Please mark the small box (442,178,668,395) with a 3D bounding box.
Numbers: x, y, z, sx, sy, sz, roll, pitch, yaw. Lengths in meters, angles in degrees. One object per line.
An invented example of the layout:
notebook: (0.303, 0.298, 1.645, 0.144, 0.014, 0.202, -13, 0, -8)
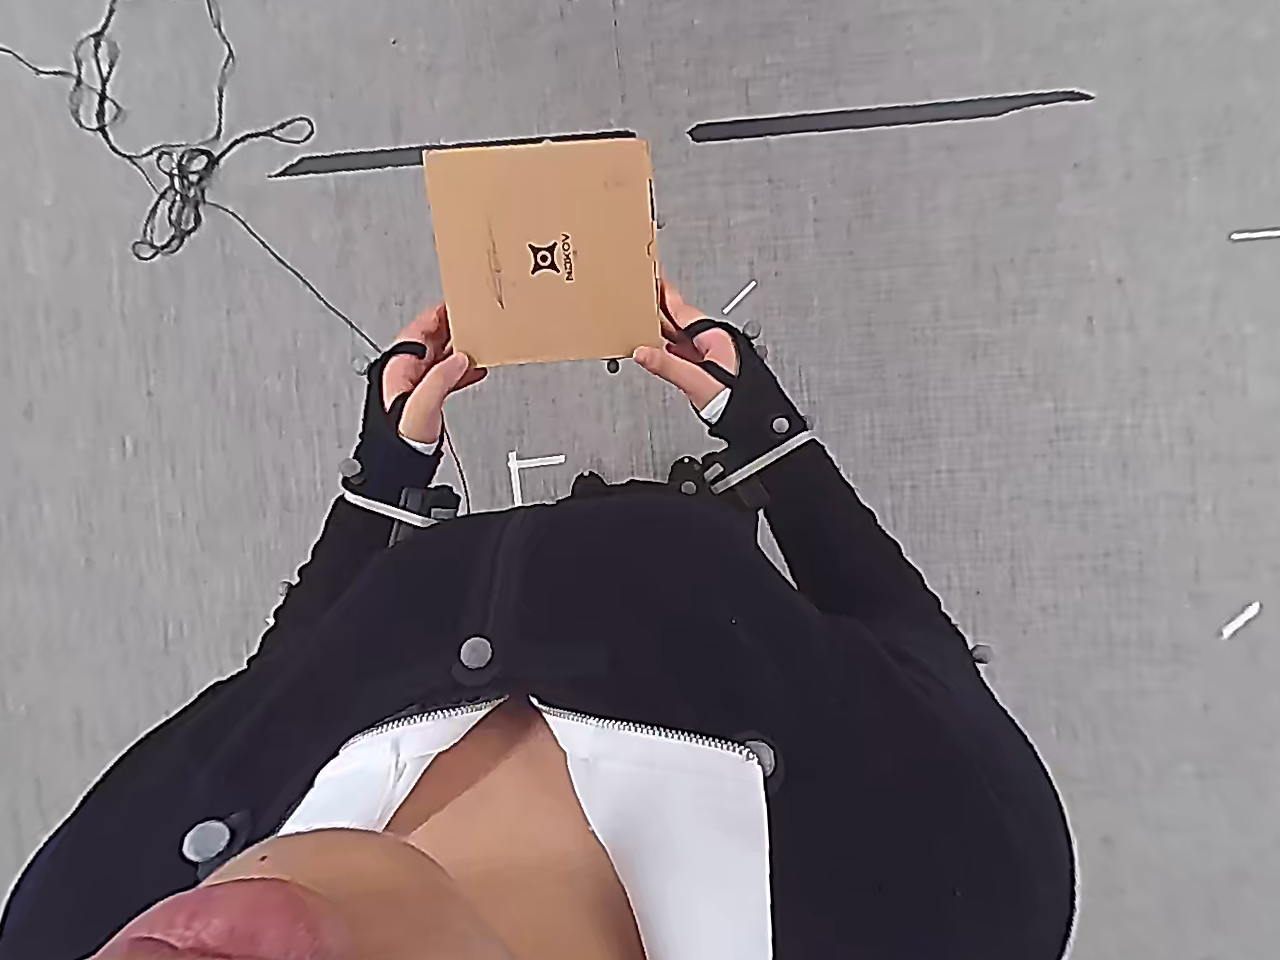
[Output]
small box: (-0.071, -0.178, 0.531, 0.179, 0.176, 0.168, -5, 103, 0)
